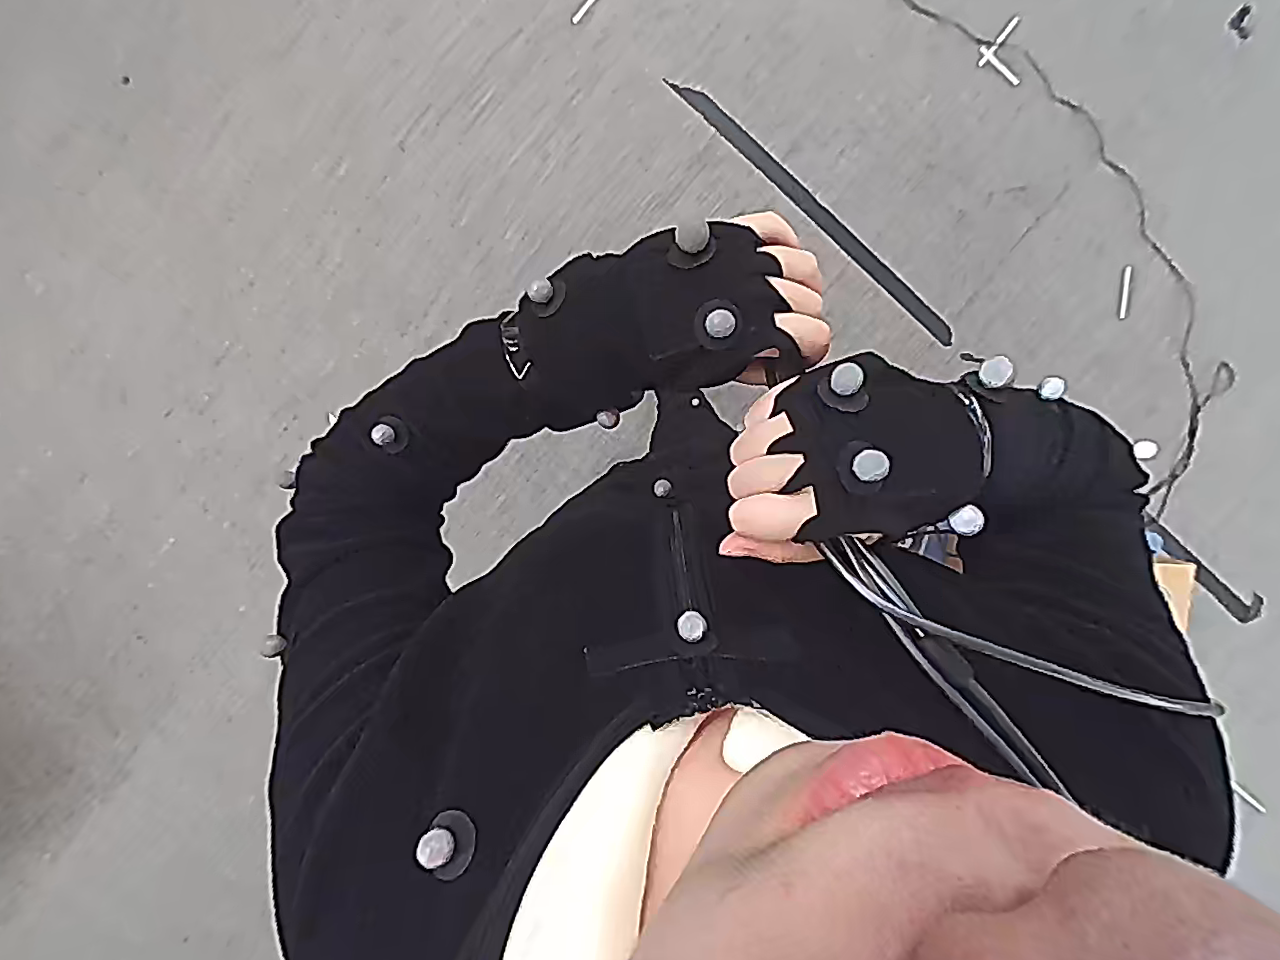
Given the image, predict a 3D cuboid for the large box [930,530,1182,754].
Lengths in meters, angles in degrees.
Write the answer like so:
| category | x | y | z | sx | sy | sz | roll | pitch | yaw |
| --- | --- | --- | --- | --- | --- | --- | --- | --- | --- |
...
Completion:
| category | x | y | z | sx | sy | sz | roll | pitch | yaw |
| --- | --- | --- | --- | --- | --- | --- | --- | --- | --- |
| large box | 0.898 | 0.336 | 1.218 | 0.320 | 0.320 | 0.408 | 3 | 95 | -1 |
